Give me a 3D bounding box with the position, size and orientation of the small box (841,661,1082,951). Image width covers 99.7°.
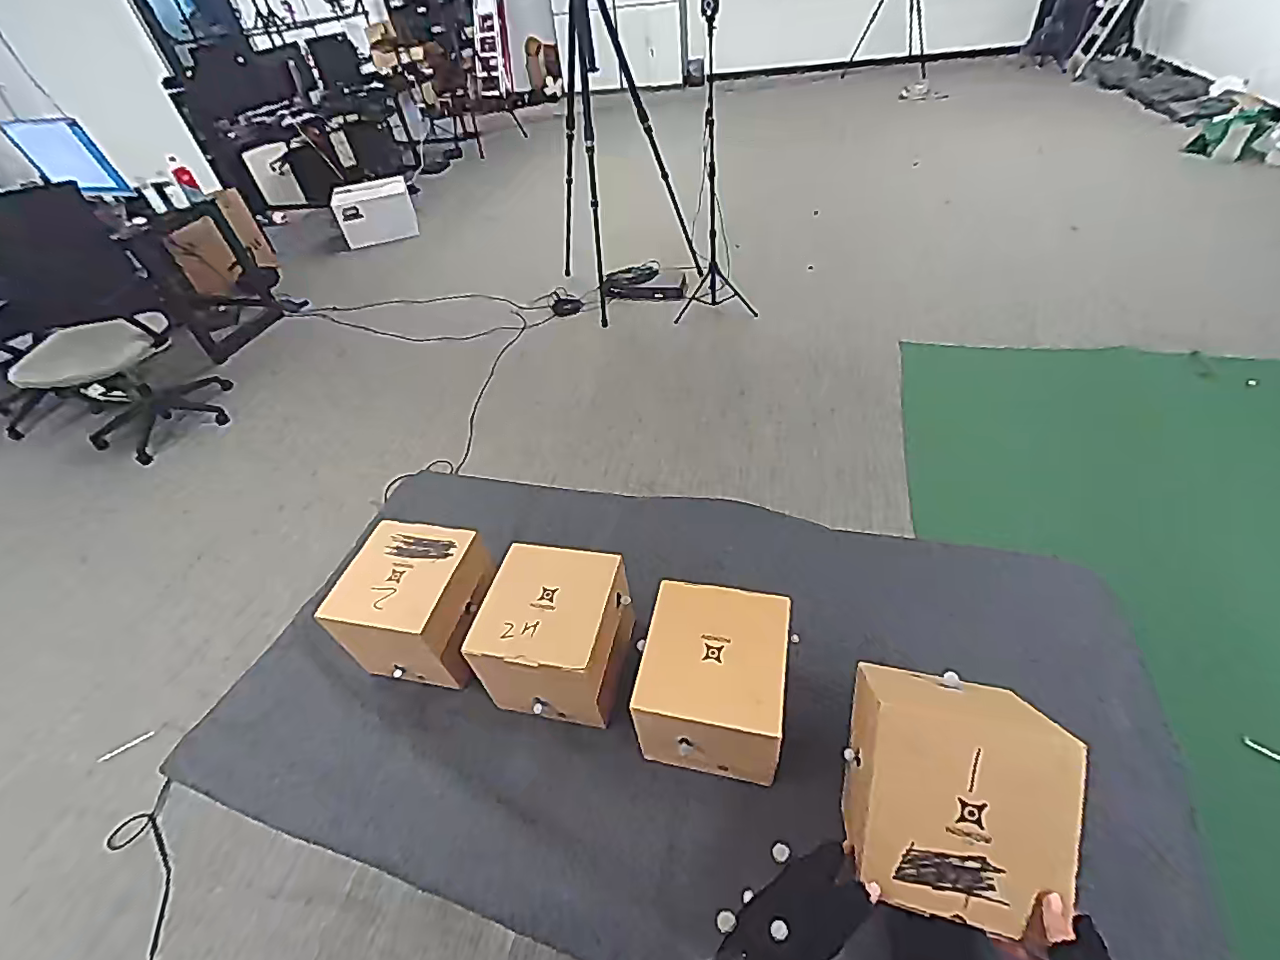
[{"bbox_3d":[0.305,0.304,0.551,0.168,0.176,0.179,8,86,16],"label":"small box"}]

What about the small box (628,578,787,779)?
[{"bbox_3d":[0.094,0.253,0.690,0.168,0.176,0.179,6,45,14],"label":"small box"}]

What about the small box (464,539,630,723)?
[{"bbox_3d":[-0.115,0.210,0.761,0.168,0.176,0.179,5,46,14],"label":"small box"}]
